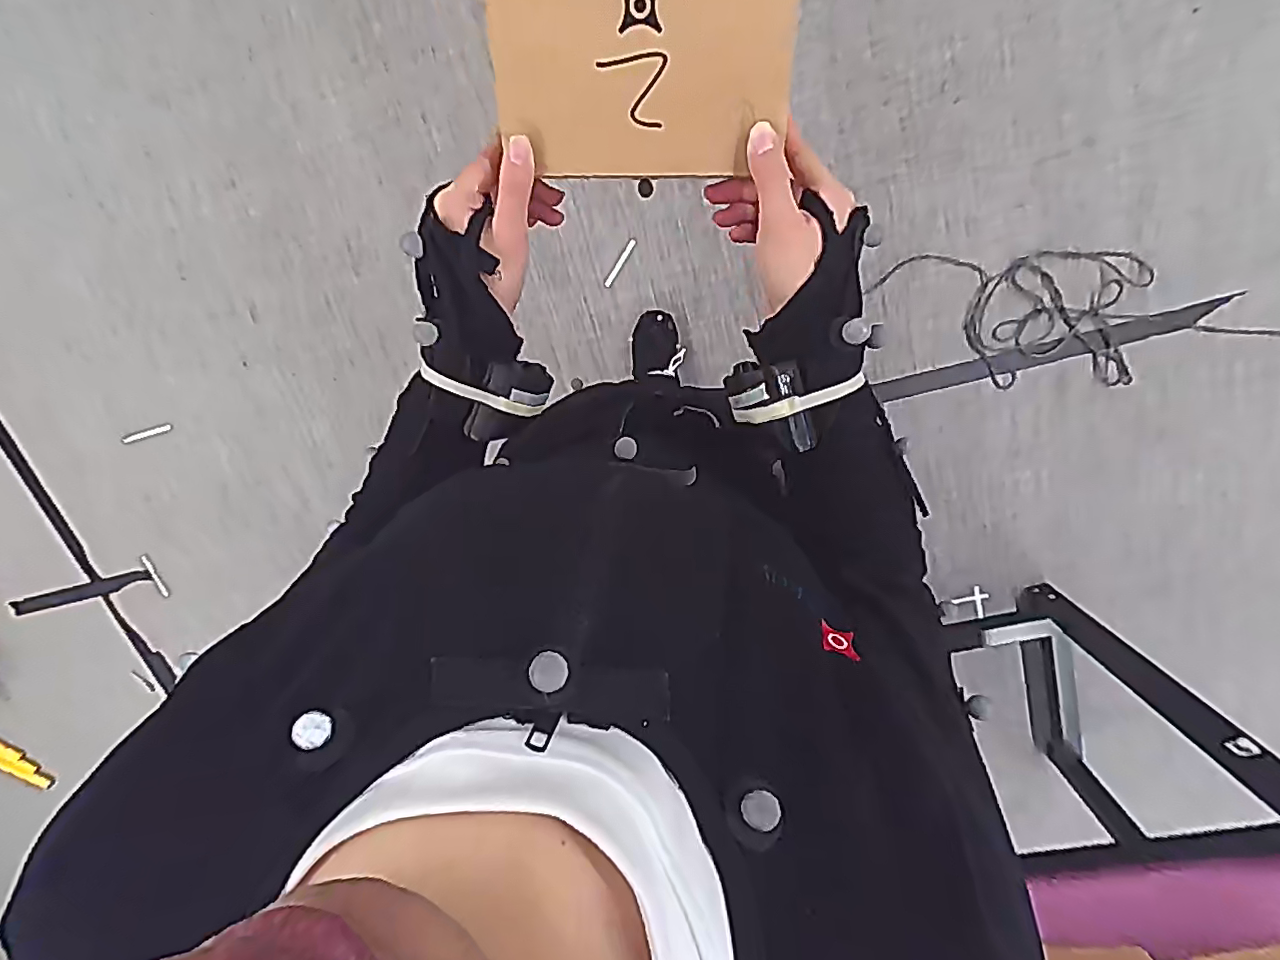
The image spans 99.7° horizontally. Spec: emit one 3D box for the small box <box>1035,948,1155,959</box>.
[{"bbox_3d":[0.659,0.788,0.741,0.179,0.176,0.168,-5,108,6],"label":"small box"}]
